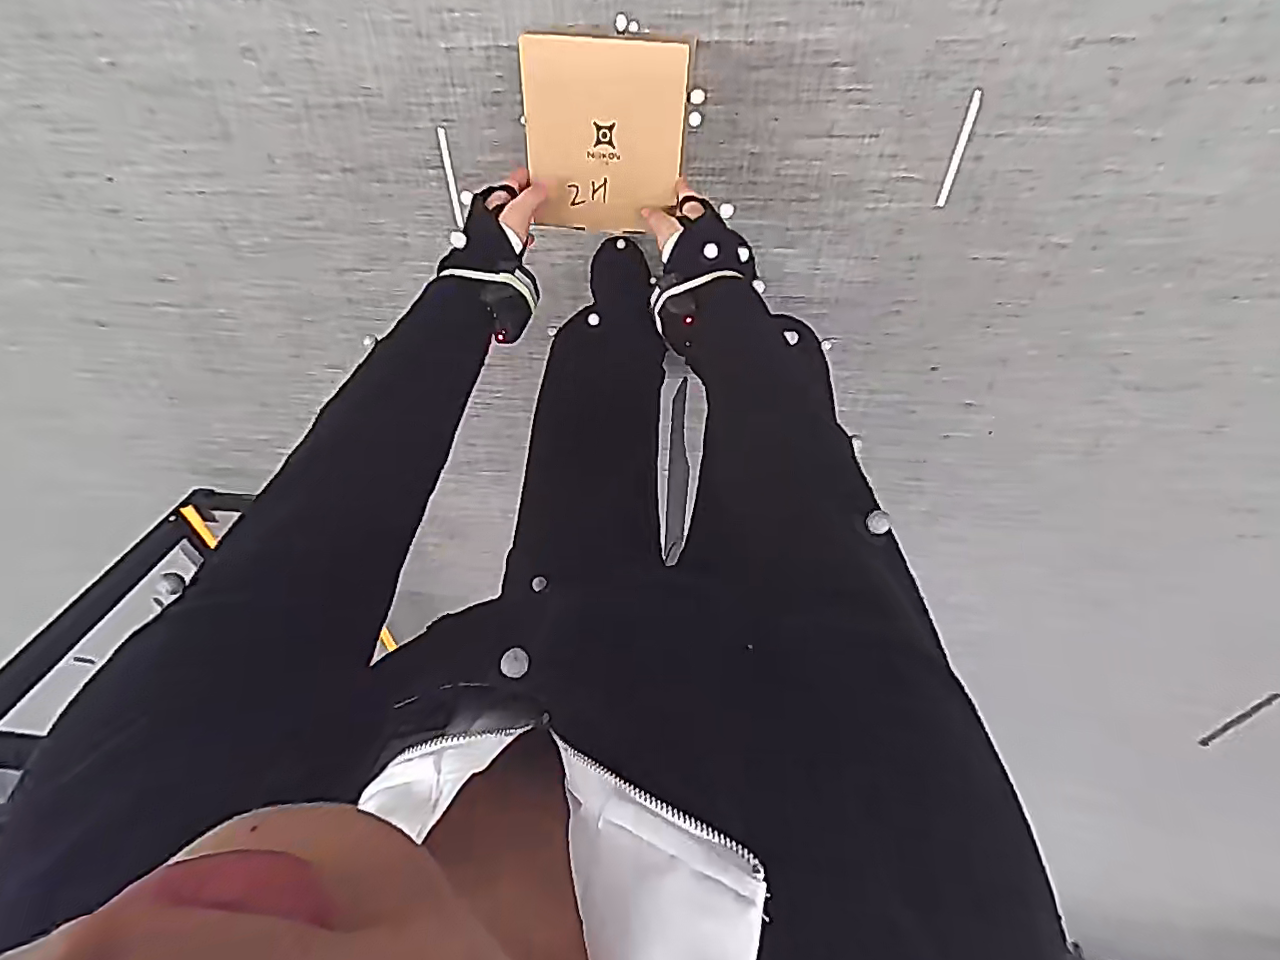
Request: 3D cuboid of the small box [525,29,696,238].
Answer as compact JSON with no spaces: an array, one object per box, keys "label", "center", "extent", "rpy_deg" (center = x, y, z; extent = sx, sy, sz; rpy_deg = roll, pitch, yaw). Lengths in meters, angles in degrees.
[{"label":"small box","center":[-0.027,-0.401,0.623],"extent":[0.168,0.176,0.179],"rpy_deg":[6,132,2]}]
